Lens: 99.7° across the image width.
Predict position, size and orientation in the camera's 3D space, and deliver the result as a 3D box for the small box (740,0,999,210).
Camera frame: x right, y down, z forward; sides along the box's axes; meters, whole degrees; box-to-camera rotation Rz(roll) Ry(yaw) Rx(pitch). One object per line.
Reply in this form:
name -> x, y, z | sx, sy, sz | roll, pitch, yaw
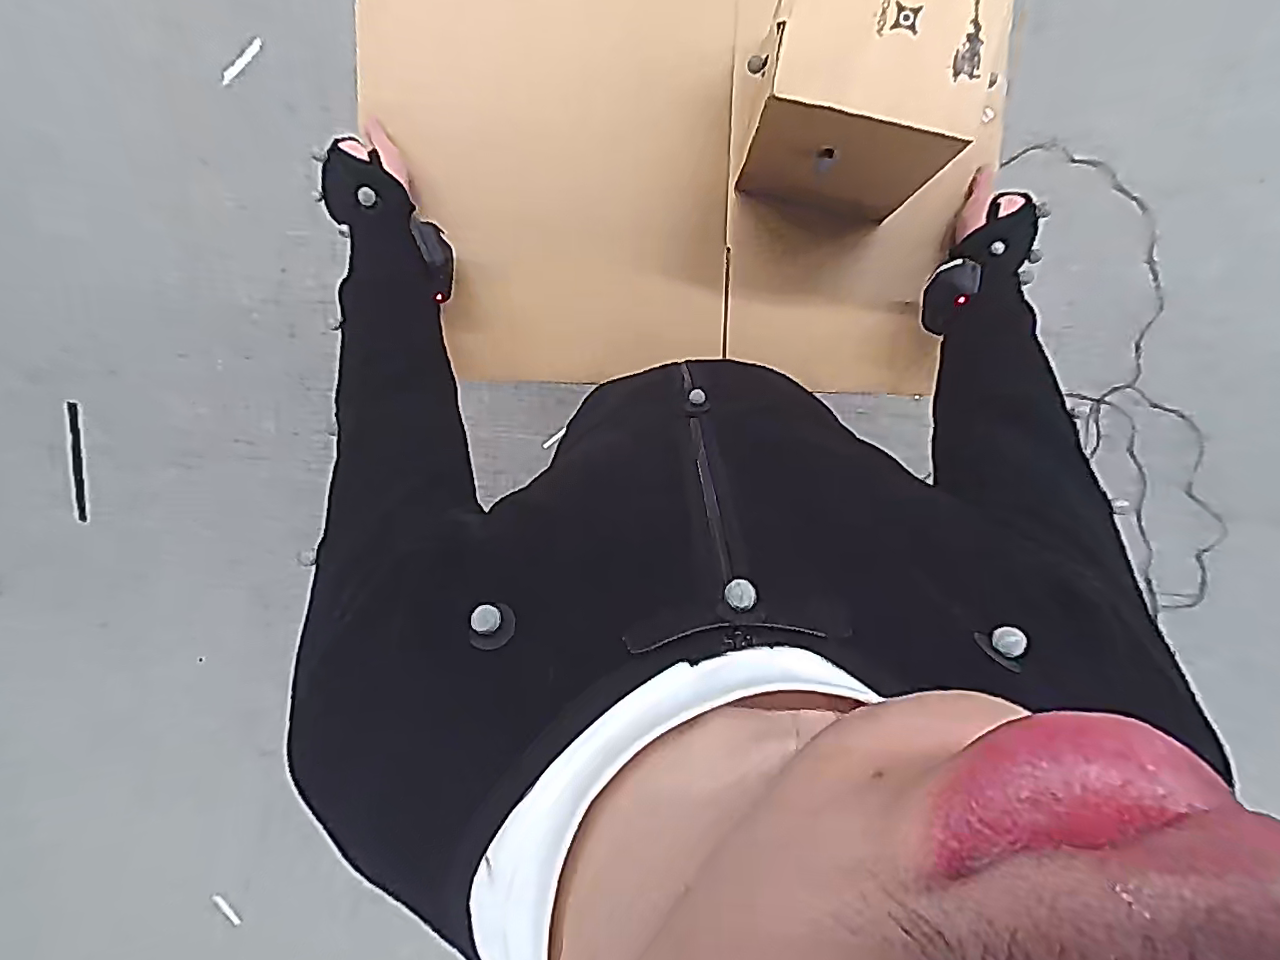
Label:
small box -> 0.205, -0.388, 0.524 | 0.179, 0.176, 0.168 | 12, 95, 0
